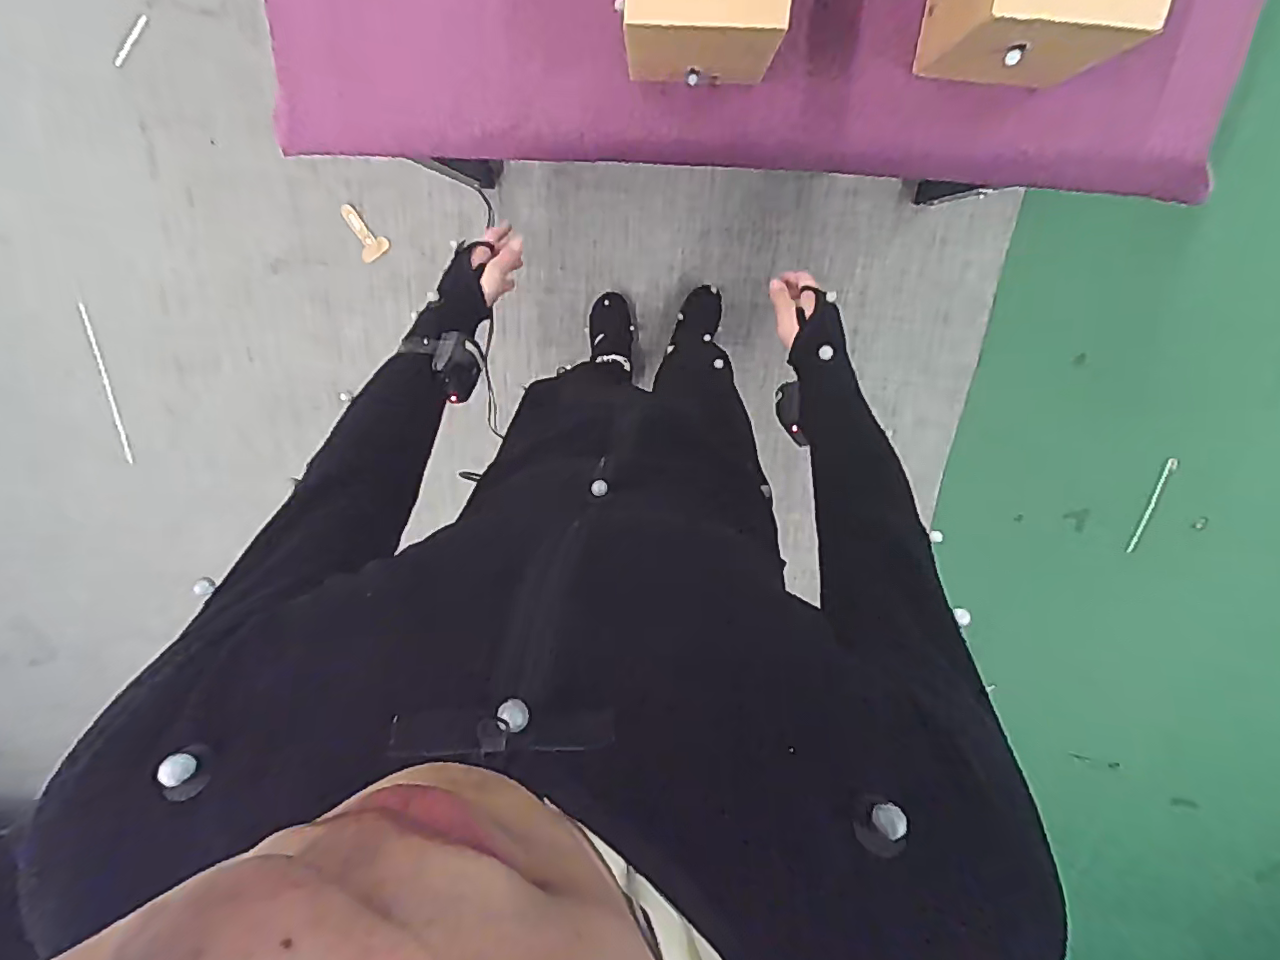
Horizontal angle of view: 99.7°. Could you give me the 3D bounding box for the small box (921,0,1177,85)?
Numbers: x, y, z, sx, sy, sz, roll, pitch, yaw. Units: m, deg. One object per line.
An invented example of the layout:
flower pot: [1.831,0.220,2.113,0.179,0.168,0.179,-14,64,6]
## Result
small box: [0.428,-0.541,0.566,0.179,0.176,0.168,5,110,1]

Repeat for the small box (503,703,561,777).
small box: [-0.382,0.927,1.937,0.179,0.176,0.168,6,111,0]
